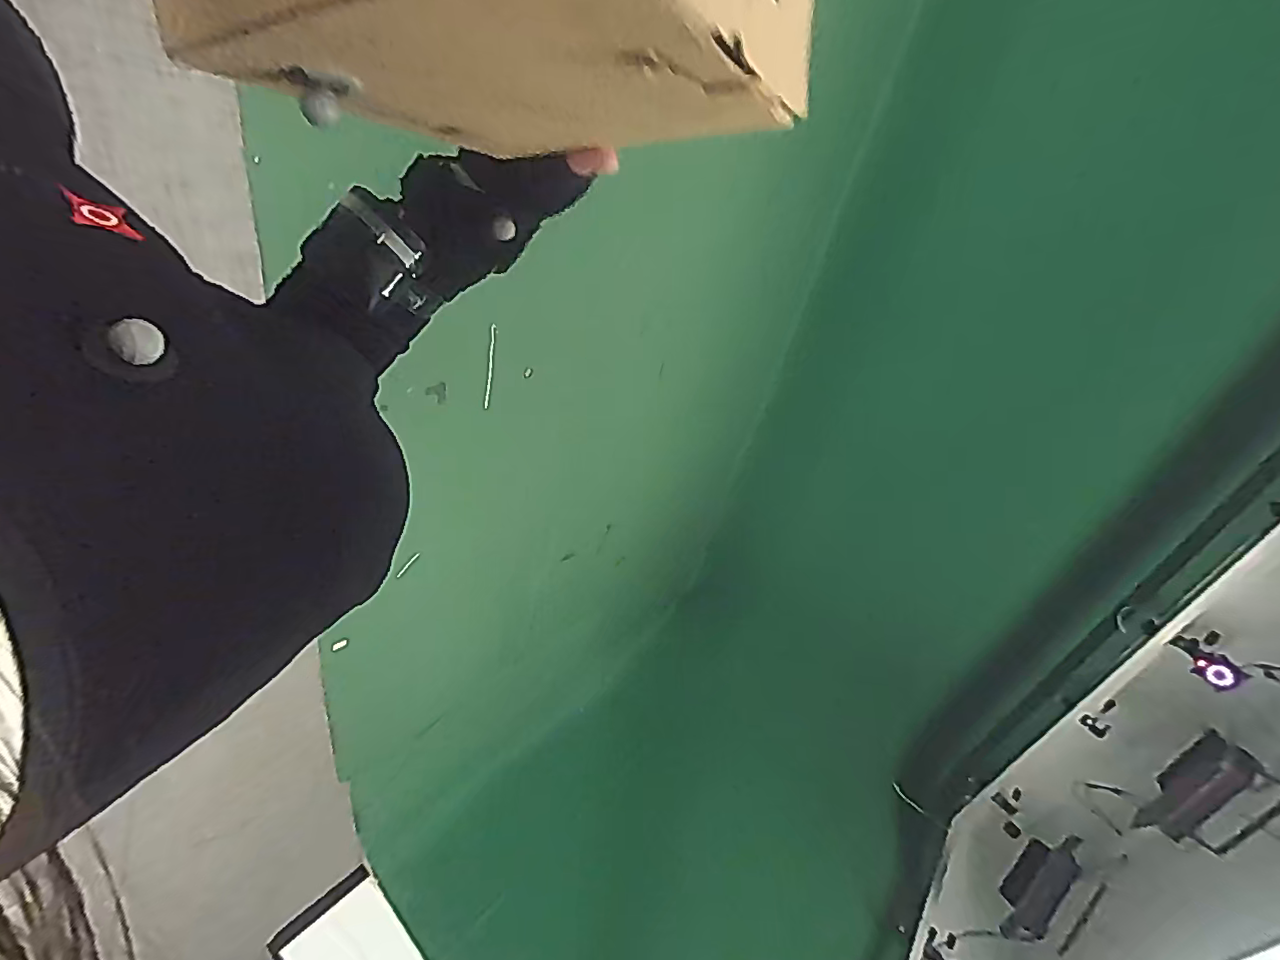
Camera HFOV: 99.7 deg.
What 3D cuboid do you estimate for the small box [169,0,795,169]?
[{"bbox_3d":[-0.046,-0.221,0.185,0.168,0.176,0.179,-34,130,-57],"label":"small box"}]
